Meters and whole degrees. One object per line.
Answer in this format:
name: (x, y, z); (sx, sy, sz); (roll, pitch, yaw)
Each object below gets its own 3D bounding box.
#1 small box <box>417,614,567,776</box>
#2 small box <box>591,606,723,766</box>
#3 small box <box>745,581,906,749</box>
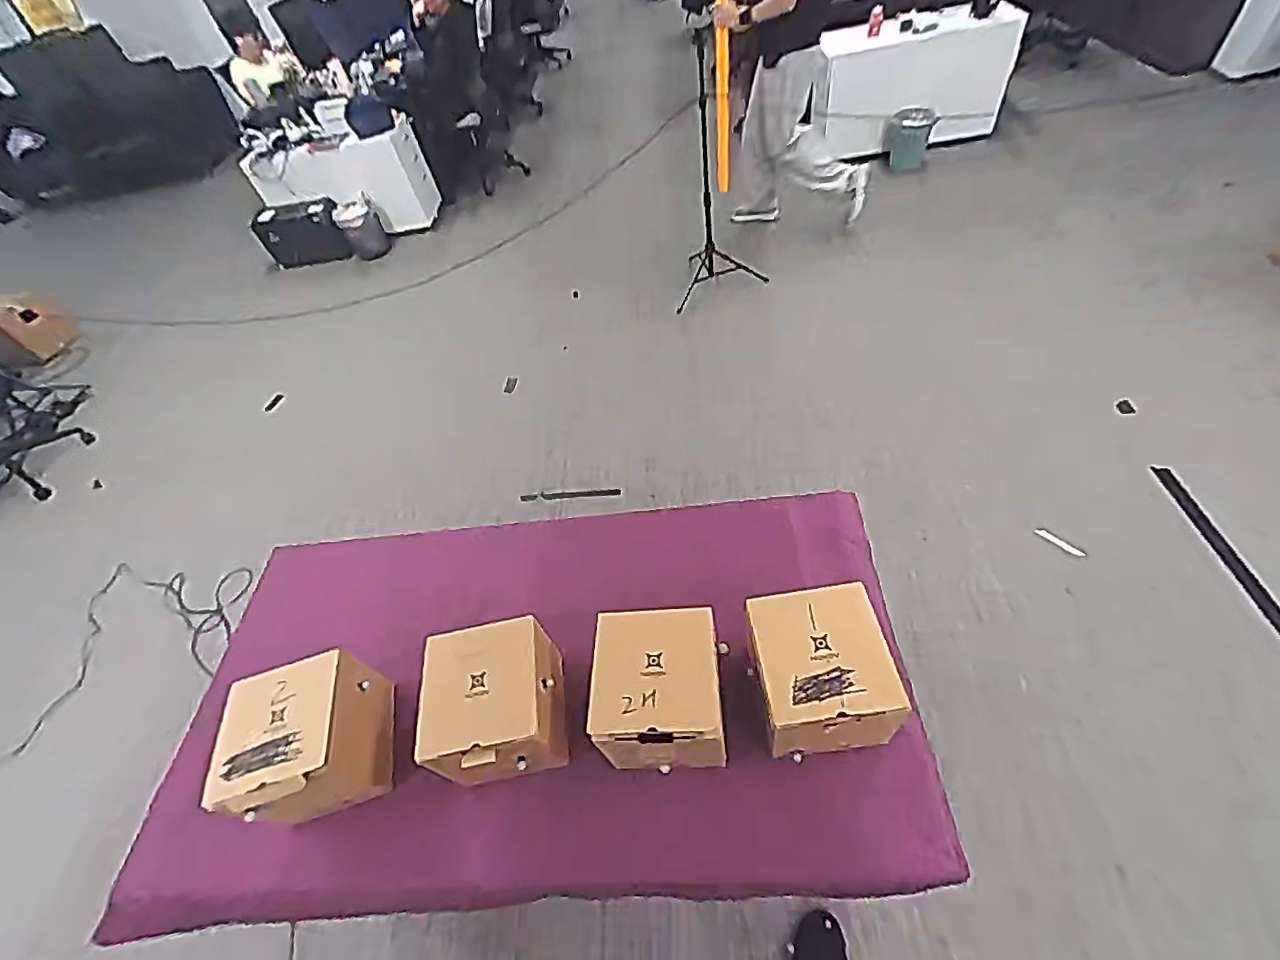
small box: (-0.211, 0.330, 0.814); (0.168, 0.176, 0.179); (-12, 50, 1)
small box: (0.032, 0.301, 0.786); (0.168, 0.176, 0.179); (-4, 51, 8)
small box: (0.249, 0.269, 0.768); (0.168, 0.176, 0.179); (-9, 50, 4)
